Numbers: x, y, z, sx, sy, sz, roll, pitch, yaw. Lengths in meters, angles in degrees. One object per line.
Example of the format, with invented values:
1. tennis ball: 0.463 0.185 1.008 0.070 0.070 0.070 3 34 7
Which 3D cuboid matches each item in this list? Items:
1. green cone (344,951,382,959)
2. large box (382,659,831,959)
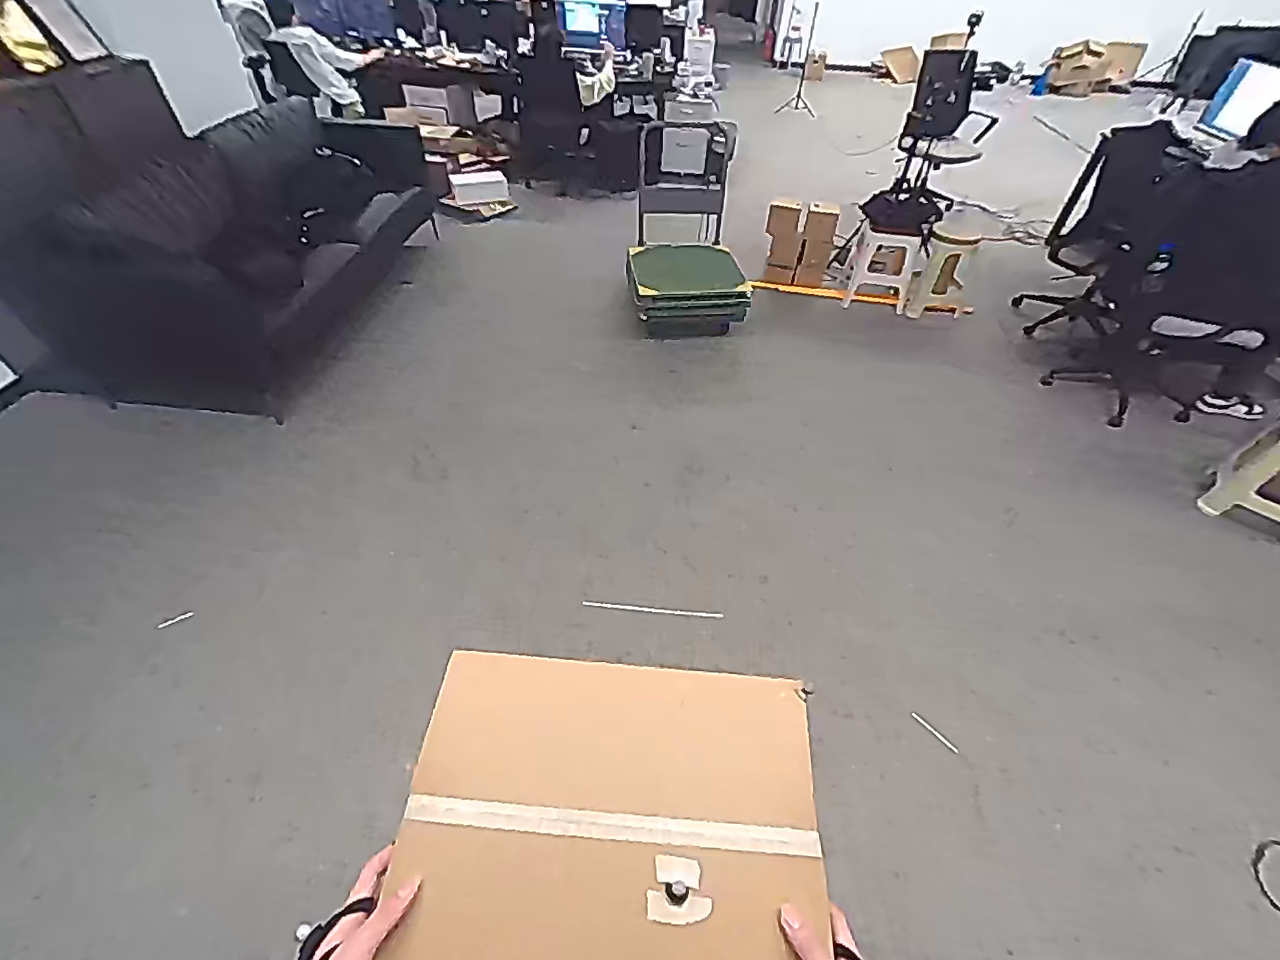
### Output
1. green cone: -0.577 1.021 1.009 0.200 0.368 0.202 9 47 7
2. large box: -0.028 0.433 0.655 0.408 0.320 0.320 4 53 1
